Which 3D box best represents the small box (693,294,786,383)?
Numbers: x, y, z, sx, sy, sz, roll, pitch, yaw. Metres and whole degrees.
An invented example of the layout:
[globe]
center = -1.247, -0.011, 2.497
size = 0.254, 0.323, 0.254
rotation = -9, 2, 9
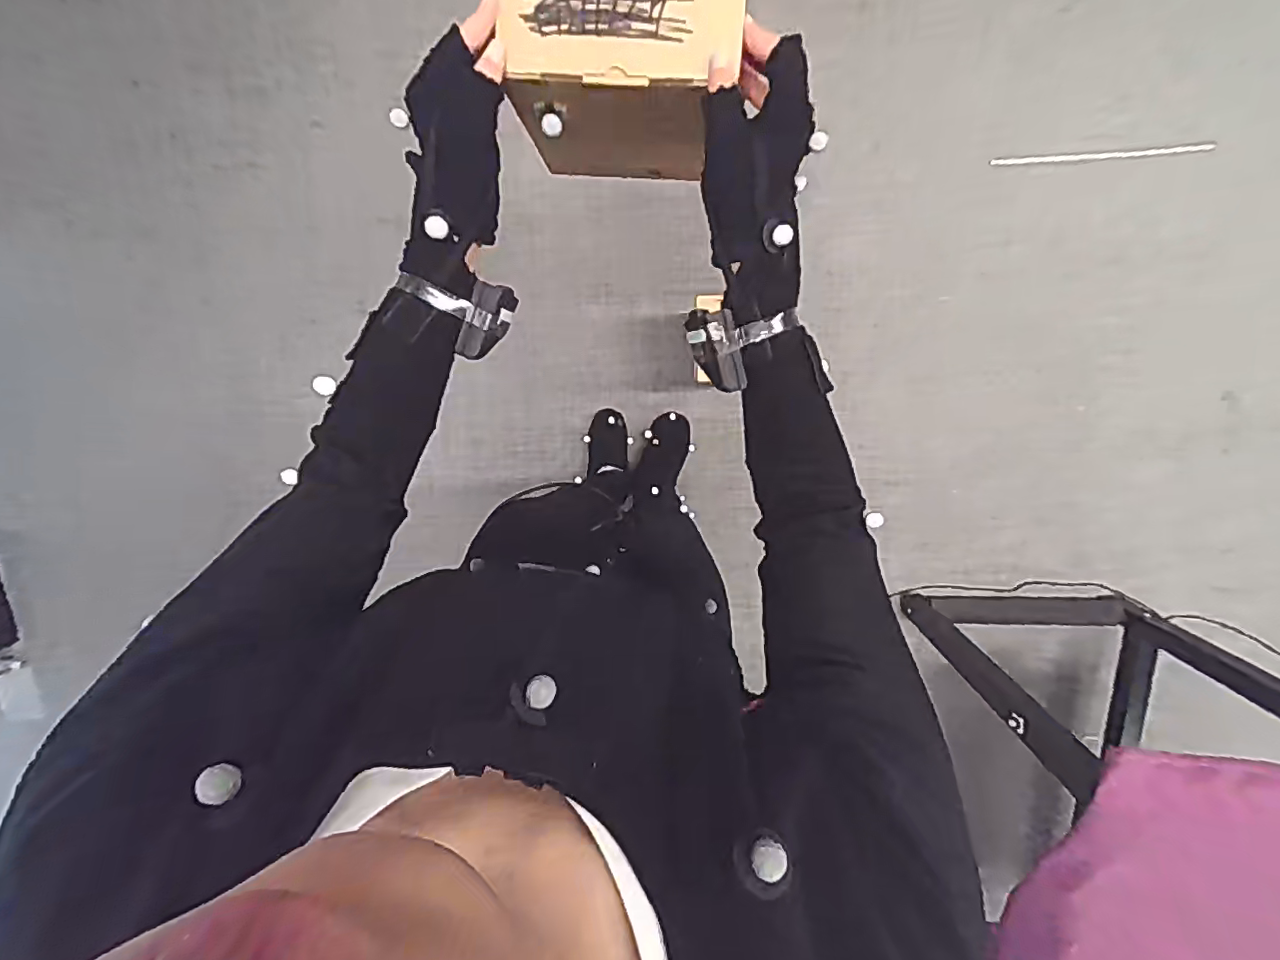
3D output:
[small box]
center = 0.202, -0.291, 1.139
size = 0.179, 0.176, 0.168
rotation = -2, 101, 3
